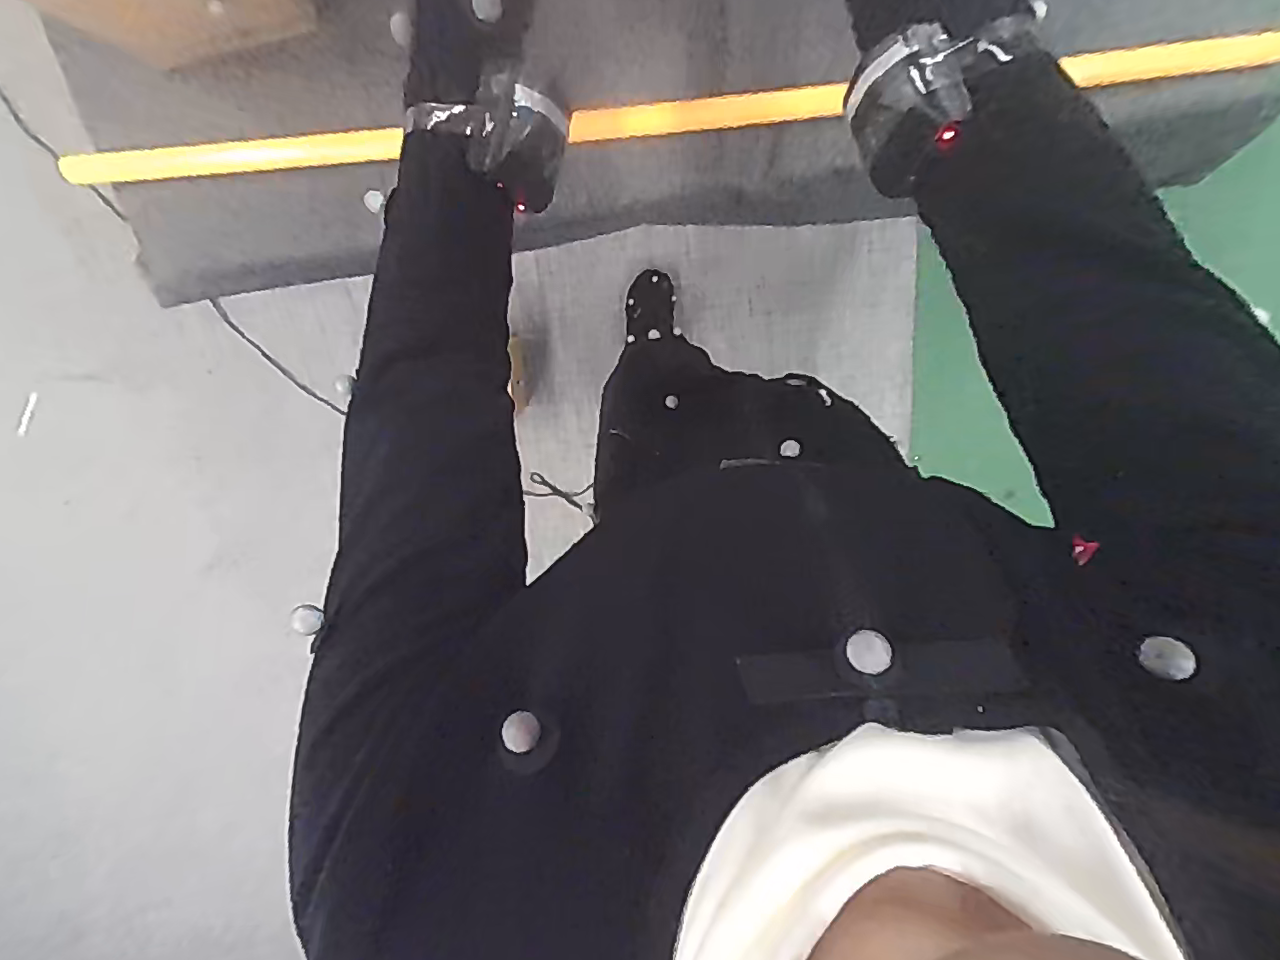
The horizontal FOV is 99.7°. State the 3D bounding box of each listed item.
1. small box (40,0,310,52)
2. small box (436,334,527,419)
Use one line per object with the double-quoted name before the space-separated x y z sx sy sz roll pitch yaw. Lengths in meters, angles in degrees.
"small box" -0.400 -0.471 0.418 0.168 0.176 0.179 -13 108 2
"small box" -0.366 -0.249 1.277 0.168 0.176 0.179 0 111 -1
